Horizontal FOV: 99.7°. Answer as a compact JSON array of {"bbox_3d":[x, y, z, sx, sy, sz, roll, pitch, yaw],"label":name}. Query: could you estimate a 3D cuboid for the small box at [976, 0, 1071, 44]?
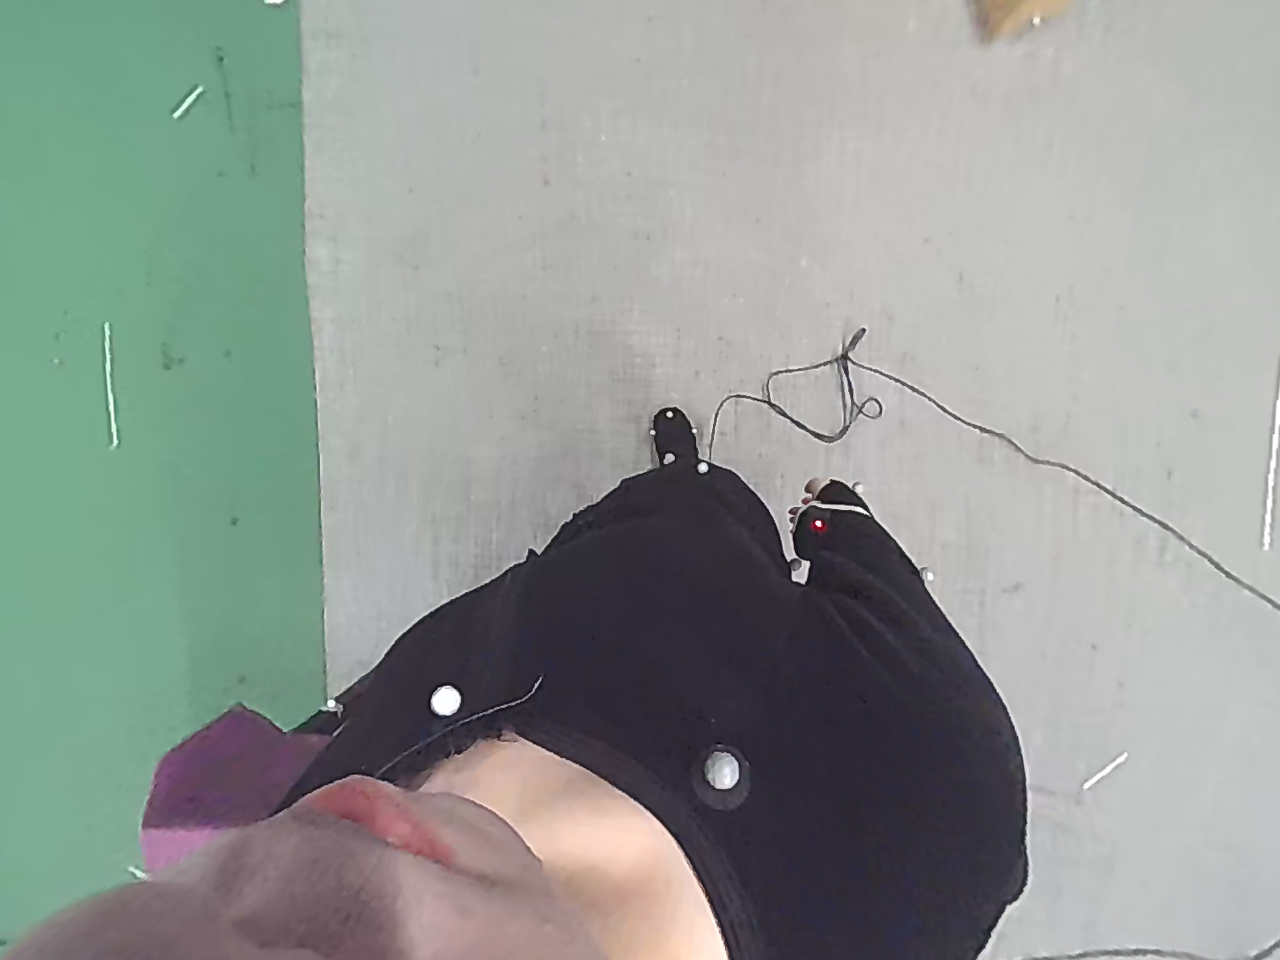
[{"bbox_3d":[0.884,-1.153,1.221,0.168,0.176,0.179,-17,94,7],"label":"small box"}]
